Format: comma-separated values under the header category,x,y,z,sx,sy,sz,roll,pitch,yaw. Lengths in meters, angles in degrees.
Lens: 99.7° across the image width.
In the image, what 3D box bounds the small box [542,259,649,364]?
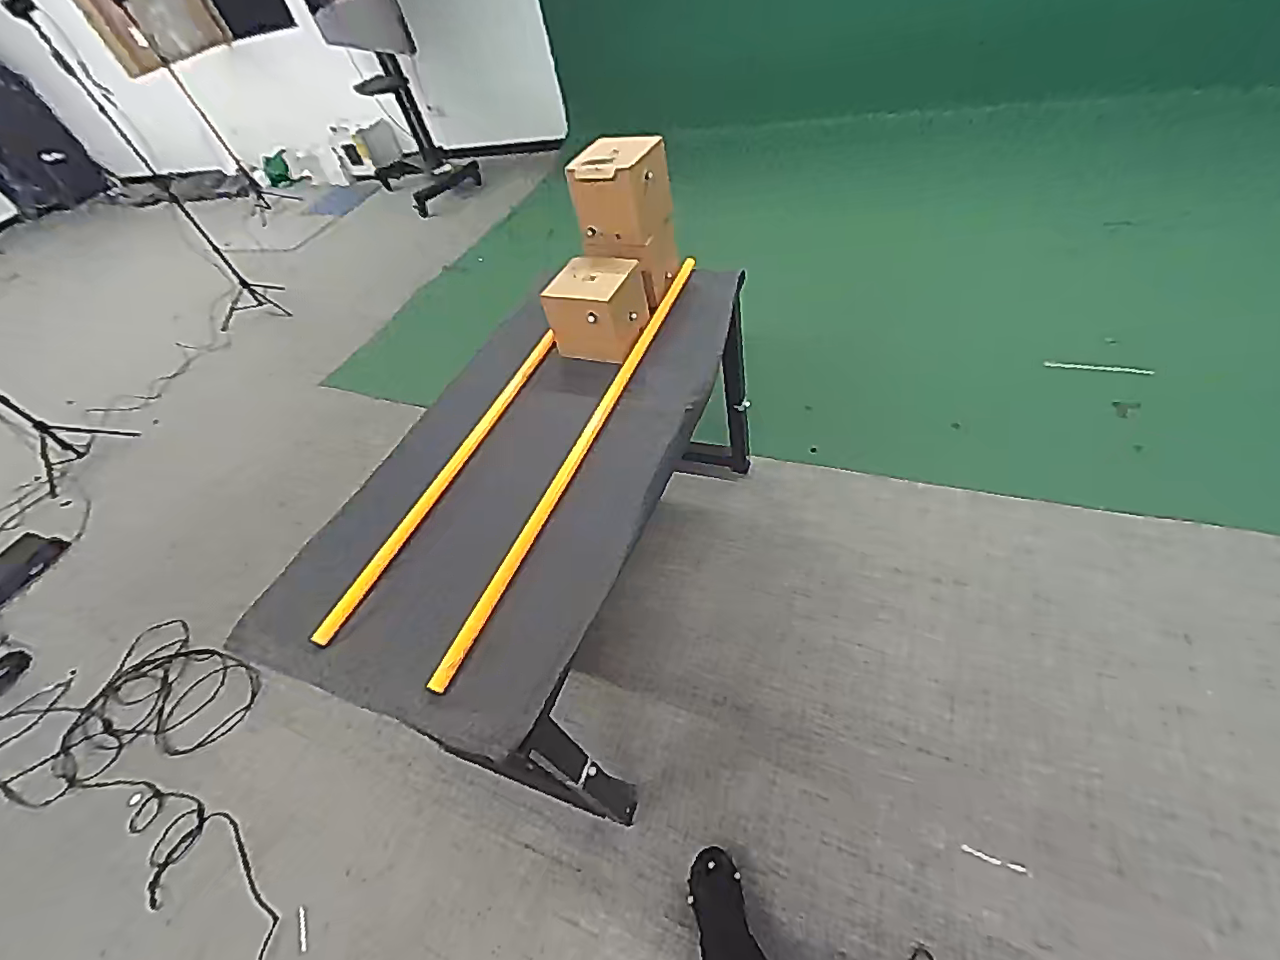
category,x,y,z,sx,sy,sz,roll,pitch,yaw
small box,-0.093,-0.389,1.252,0.179,0.176,0.168,12,54,23

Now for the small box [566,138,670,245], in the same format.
category,x,y,z,sx,sy,sz,roll,pitch,yaw
small box,-0.041,-0.666,1.257,0.168,0.176,0.179,15,55,24
